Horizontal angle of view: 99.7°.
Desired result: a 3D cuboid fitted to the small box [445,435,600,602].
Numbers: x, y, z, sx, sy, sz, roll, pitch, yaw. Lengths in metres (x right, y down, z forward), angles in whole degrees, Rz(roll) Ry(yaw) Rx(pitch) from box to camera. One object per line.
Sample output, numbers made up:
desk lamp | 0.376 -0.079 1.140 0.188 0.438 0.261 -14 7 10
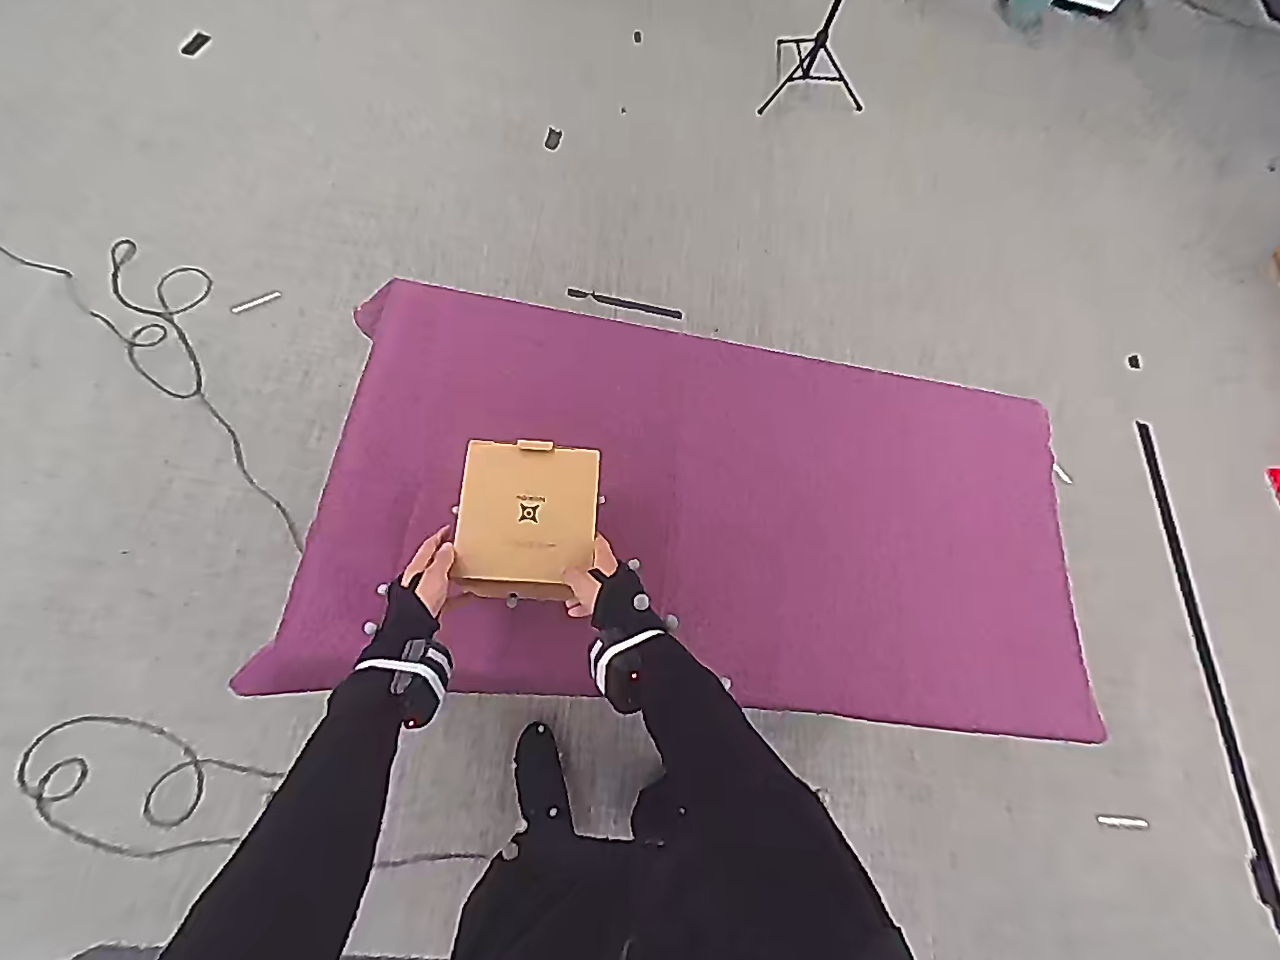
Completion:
small box | -0.149 0.060 0.722 0.168 0.176 0.179 5 70 -7
